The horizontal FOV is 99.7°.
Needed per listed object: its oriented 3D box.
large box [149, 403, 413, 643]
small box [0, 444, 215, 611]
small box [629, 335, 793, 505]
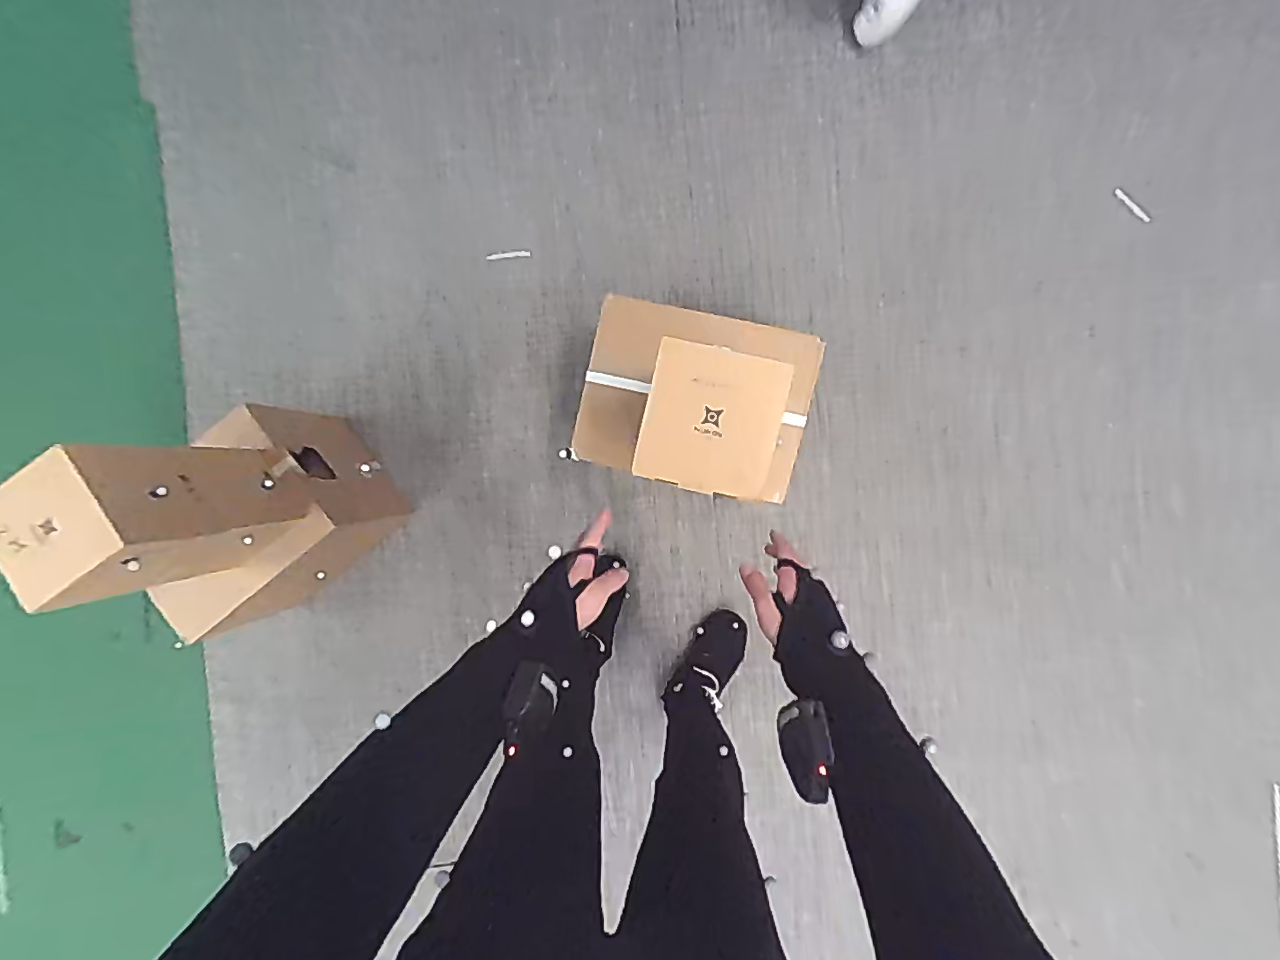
[{"bbox_3d":[-0.815,0.081,1.216,0.408,0.320,0.320,-38,87,6],"label":"large box"},{"bbox_3d":[-0.785,0.060,0.800,0.179,0.176,0.168,-33,89,5],"label":"small box"},{"bbox_3d":[0.091,-0.075,0.729,0.168,0.176,0.179,14,93,4],"label":"small box"}]
